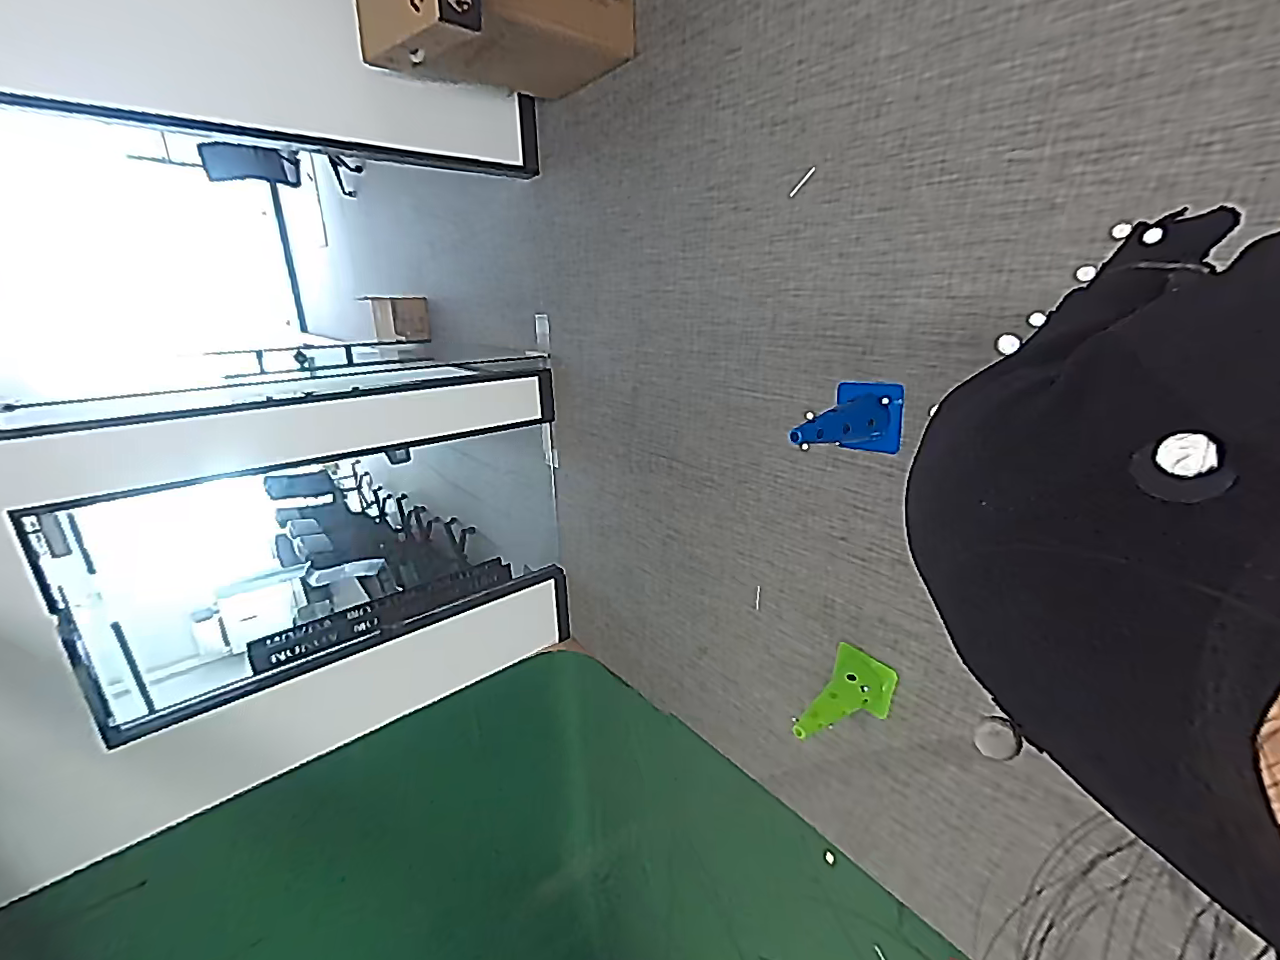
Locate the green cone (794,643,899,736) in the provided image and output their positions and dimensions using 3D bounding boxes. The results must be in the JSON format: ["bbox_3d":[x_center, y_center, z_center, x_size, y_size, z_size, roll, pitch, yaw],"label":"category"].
[{"bbox_3d":[0.601,0.691,1.662,0.200,0.368,0.202,25,120,46],"label":"green cone"}]
